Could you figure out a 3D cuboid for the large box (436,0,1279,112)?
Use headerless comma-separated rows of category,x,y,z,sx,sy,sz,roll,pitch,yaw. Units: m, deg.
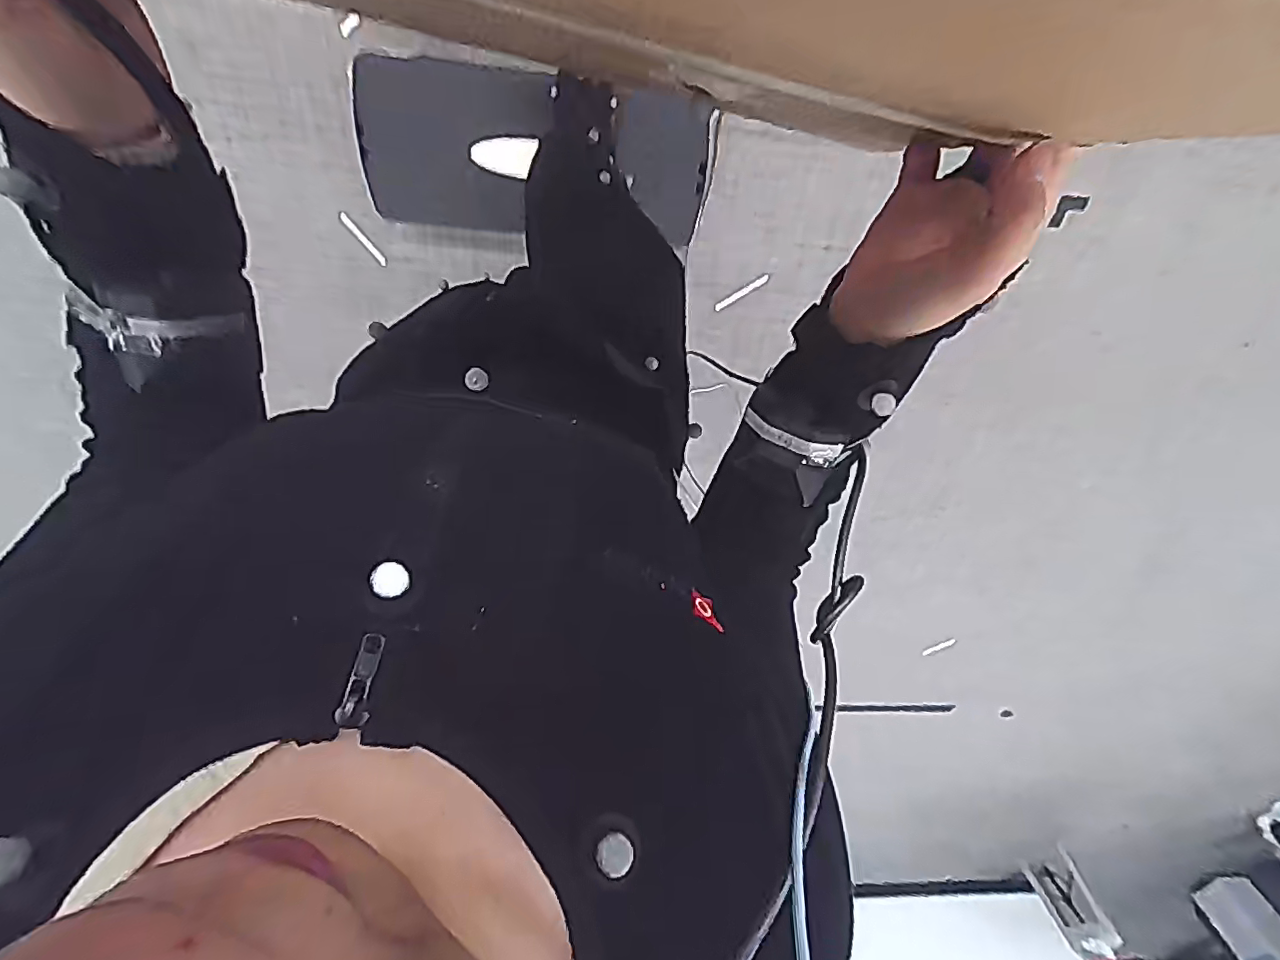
large box,0.002,-0.314,0.113,0.408,0.320,0.320,7,121,-9
